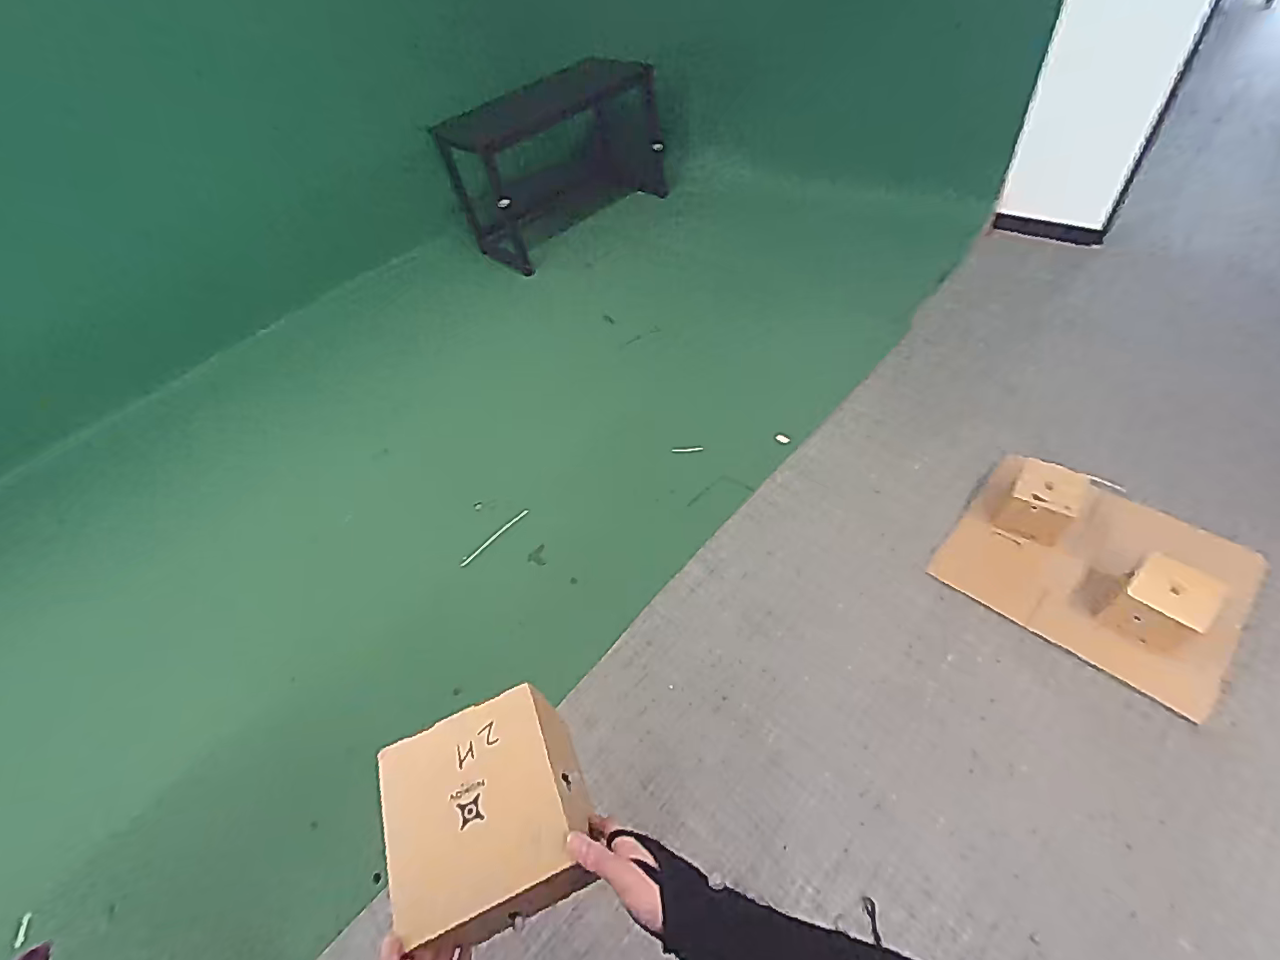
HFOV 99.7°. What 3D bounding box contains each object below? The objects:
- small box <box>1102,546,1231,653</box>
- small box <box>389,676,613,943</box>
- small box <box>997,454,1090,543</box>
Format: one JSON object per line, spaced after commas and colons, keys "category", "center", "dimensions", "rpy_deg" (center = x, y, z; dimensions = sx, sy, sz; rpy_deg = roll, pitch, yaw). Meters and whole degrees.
{"category": "small box", "center": [1.358, 0.315, 1.410], "dimensions": [0.179, 0.176, 0.168], "rpy_deg": [-39, 53, -20]}
{"category": "small box", "center": [-0.140, 0.344, 0.572], "dimensions": [0.168, 0.176, 0.179], "rpy_deg": [-22, 51, -7]}
{"category": "small box", "center": [1.227, 0.057, 1.654], "dimensions": [0.168, 0.176, 0.179], "rpy_deg": [25, 60, 28]}
